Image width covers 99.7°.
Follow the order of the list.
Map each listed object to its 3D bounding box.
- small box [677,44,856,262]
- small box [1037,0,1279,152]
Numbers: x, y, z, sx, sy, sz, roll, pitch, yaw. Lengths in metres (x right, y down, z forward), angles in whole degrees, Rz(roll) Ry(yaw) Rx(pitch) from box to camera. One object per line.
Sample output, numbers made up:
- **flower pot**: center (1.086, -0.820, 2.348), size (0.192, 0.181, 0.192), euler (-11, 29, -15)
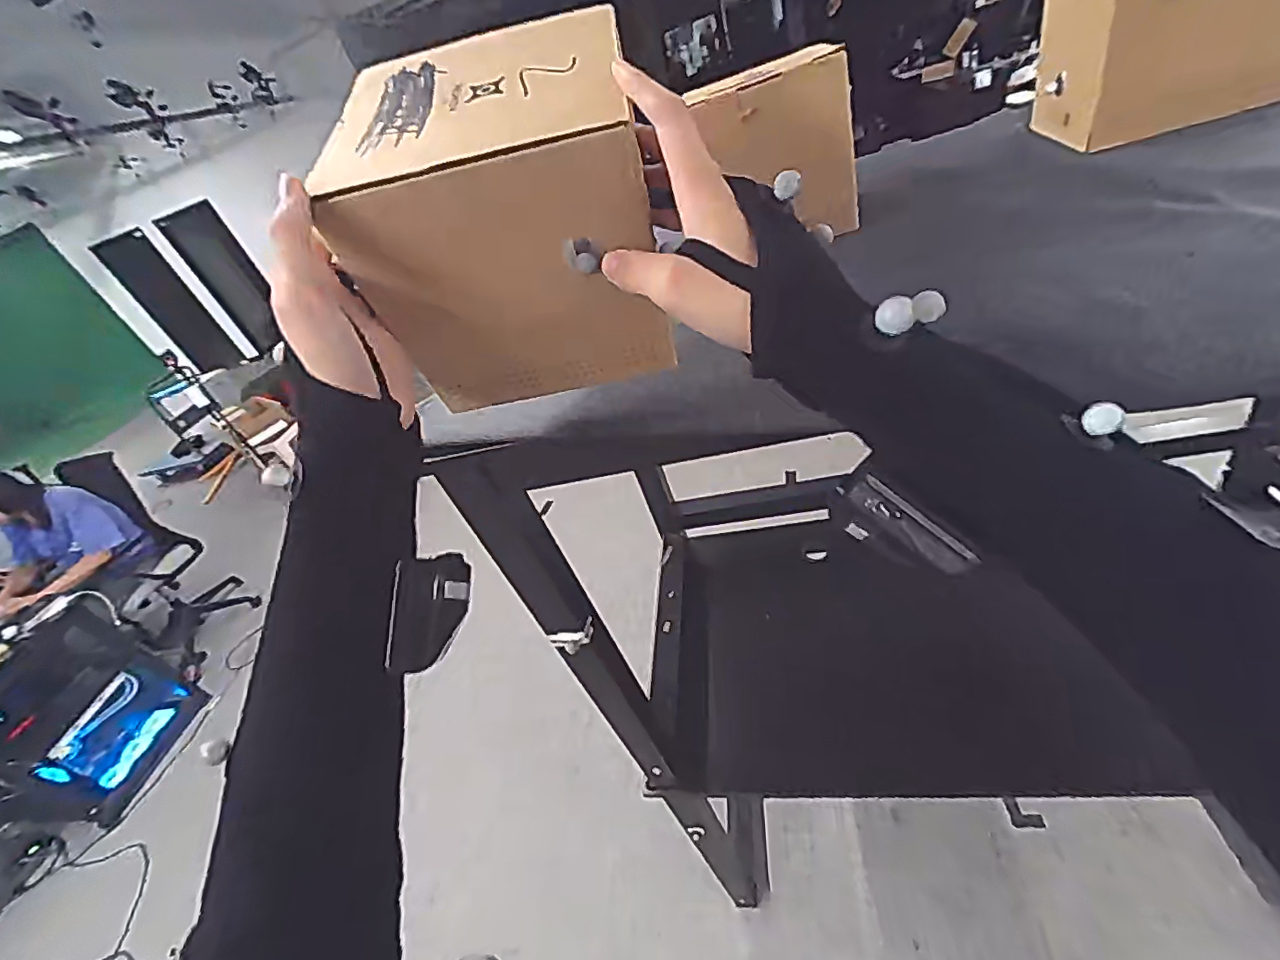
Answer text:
- **small box**: center (0.149, -0.374, 0.633), size (0.168, 0.176, 0.179), euler (-10, 36, 16)
- **small box**: center (0.533, -0.459, 0.540), size (0.179, 0.176, 0.168), euler (-9, 38, 19)
